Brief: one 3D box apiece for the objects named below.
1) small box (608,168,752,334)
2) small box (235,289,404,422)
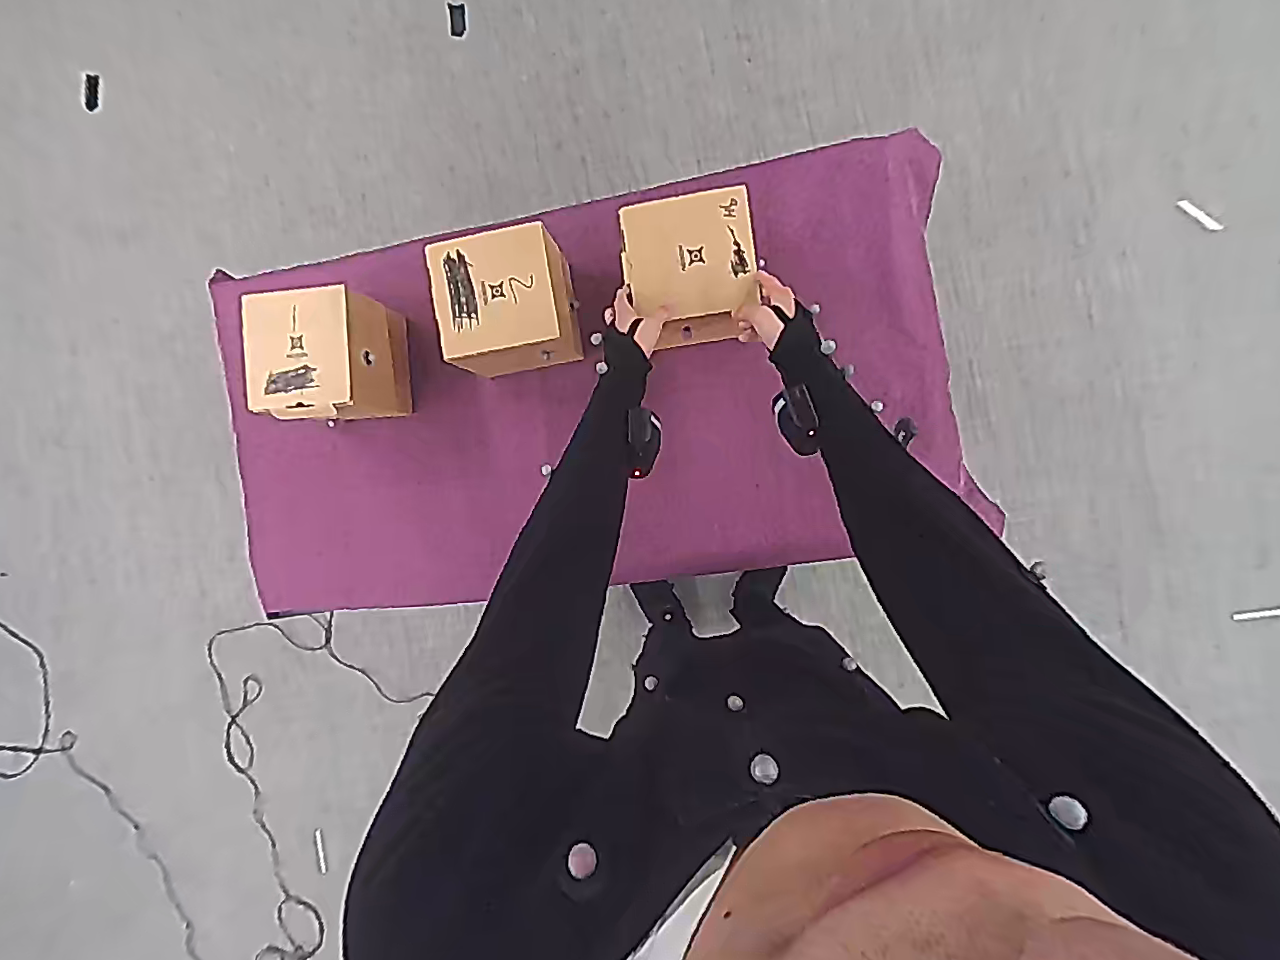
[{"bbox_3d":[0.063,-0.321,0.796,0.179,0.176,0.168,-8,95,7],"label":"small box"},{"bbox_3d":[-0.498,-0.186,0.863,0.168,0.176,0.179,-4,91,6],"label":"small box"}]
